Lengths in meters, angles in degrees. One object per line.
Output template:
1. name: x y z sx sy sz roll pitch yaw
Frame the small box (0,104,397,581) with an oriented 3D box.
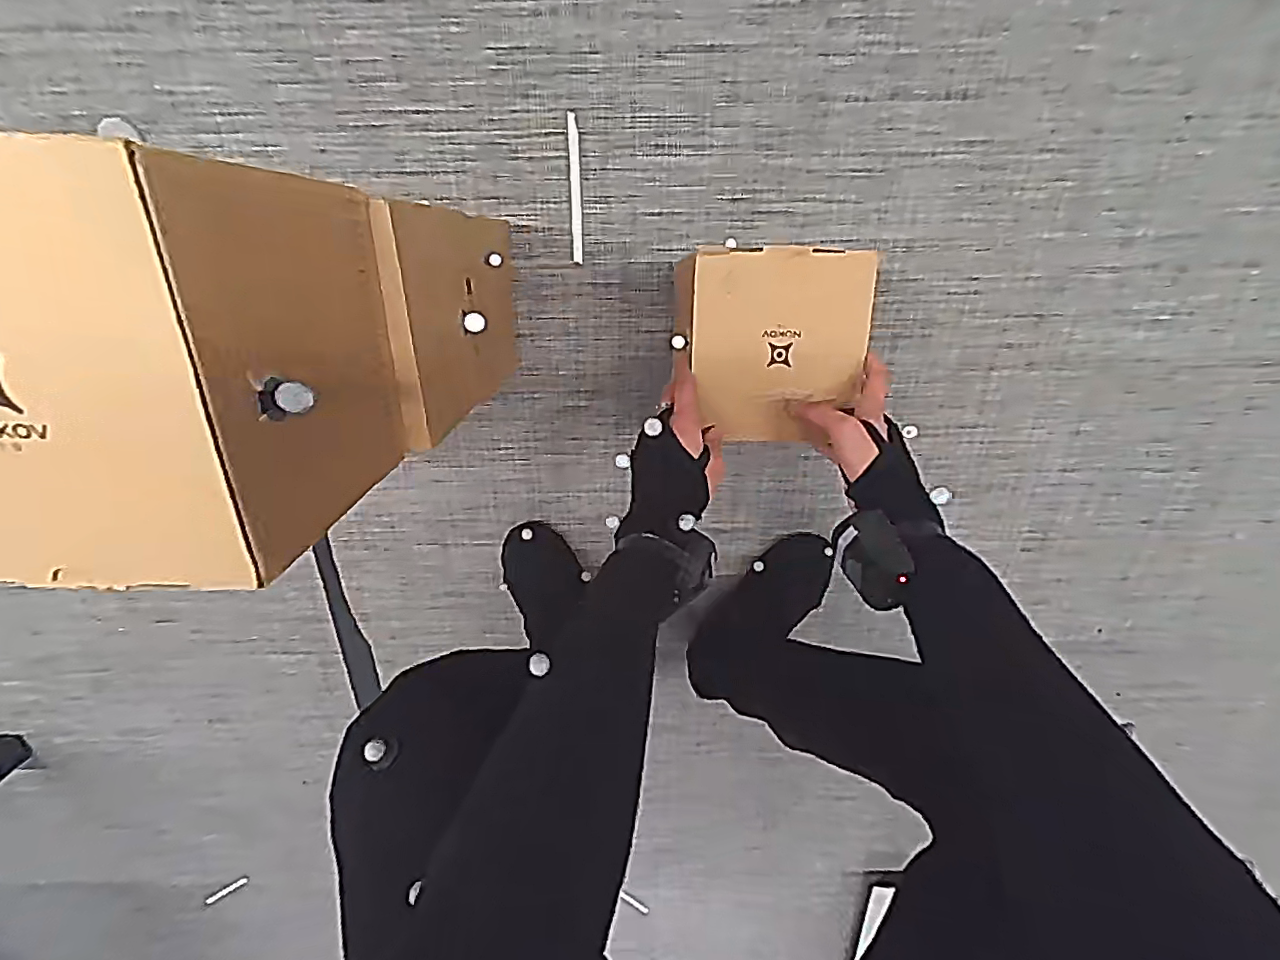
1. small box: -0.244 -0.069 0.272 0.168 0.176 0.179 1 115 -1

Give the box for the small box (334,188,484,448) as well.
1. small box: -0.235 -0.129 0.424 0.179 0.176 0.168 -1 114 -2

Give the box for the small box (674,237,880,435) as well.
1. small box: 0.125 -0.150 0.570 0.168 0.176 0.179 -1 108 -2
